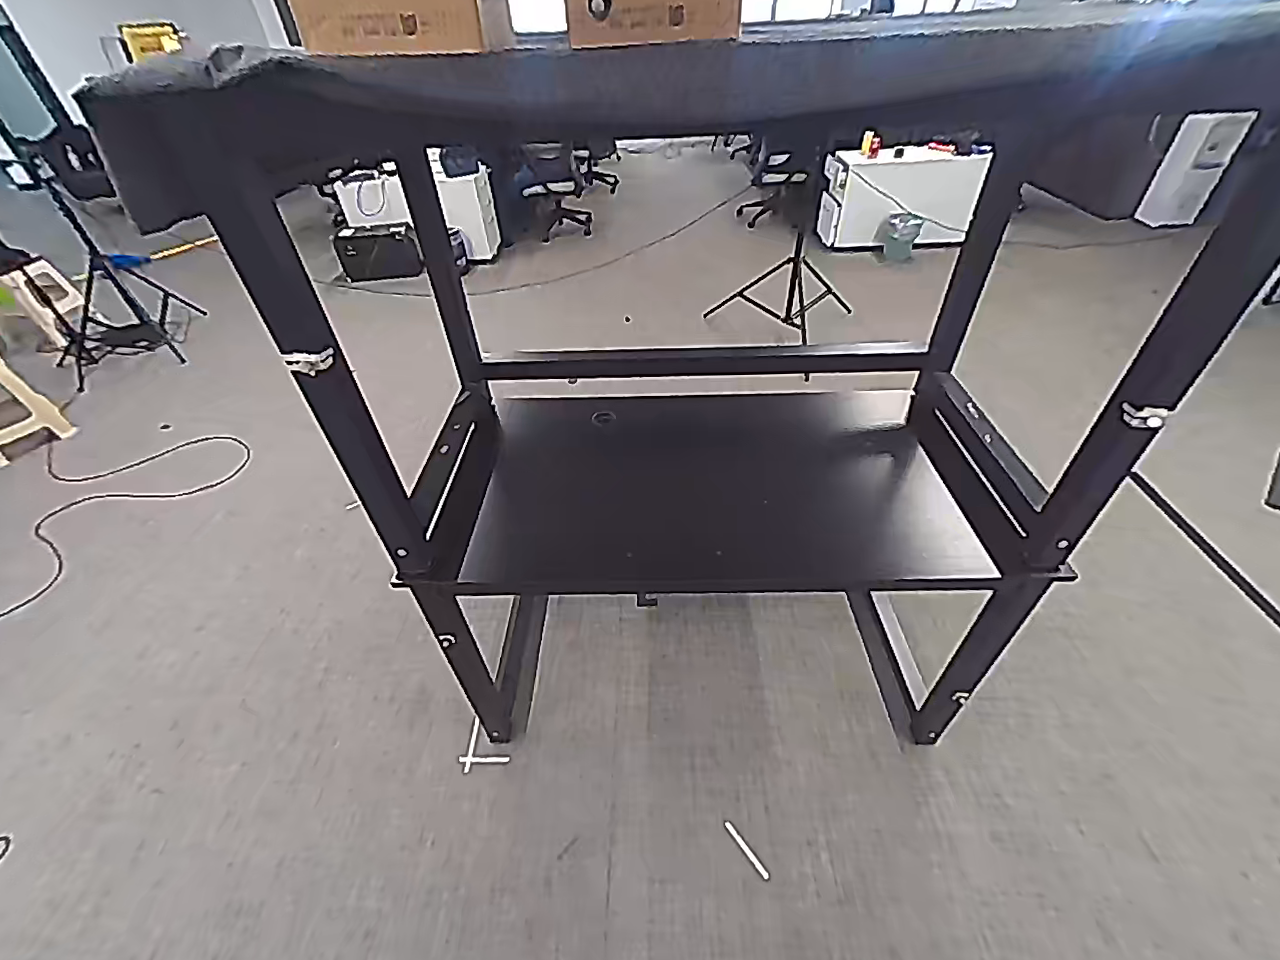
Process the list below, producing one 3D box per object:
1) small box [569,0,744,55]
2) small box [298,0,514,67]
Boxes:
[{"bbox_3d":[0.016,-0.528,0.527,0.168,0.176,0.179,0,39,4],"label":"small box"},{"bbox_3d":[-0.226,-0.506,0.516,0.168,0.176,0.179,0,39,1],"label":"small box"}]
